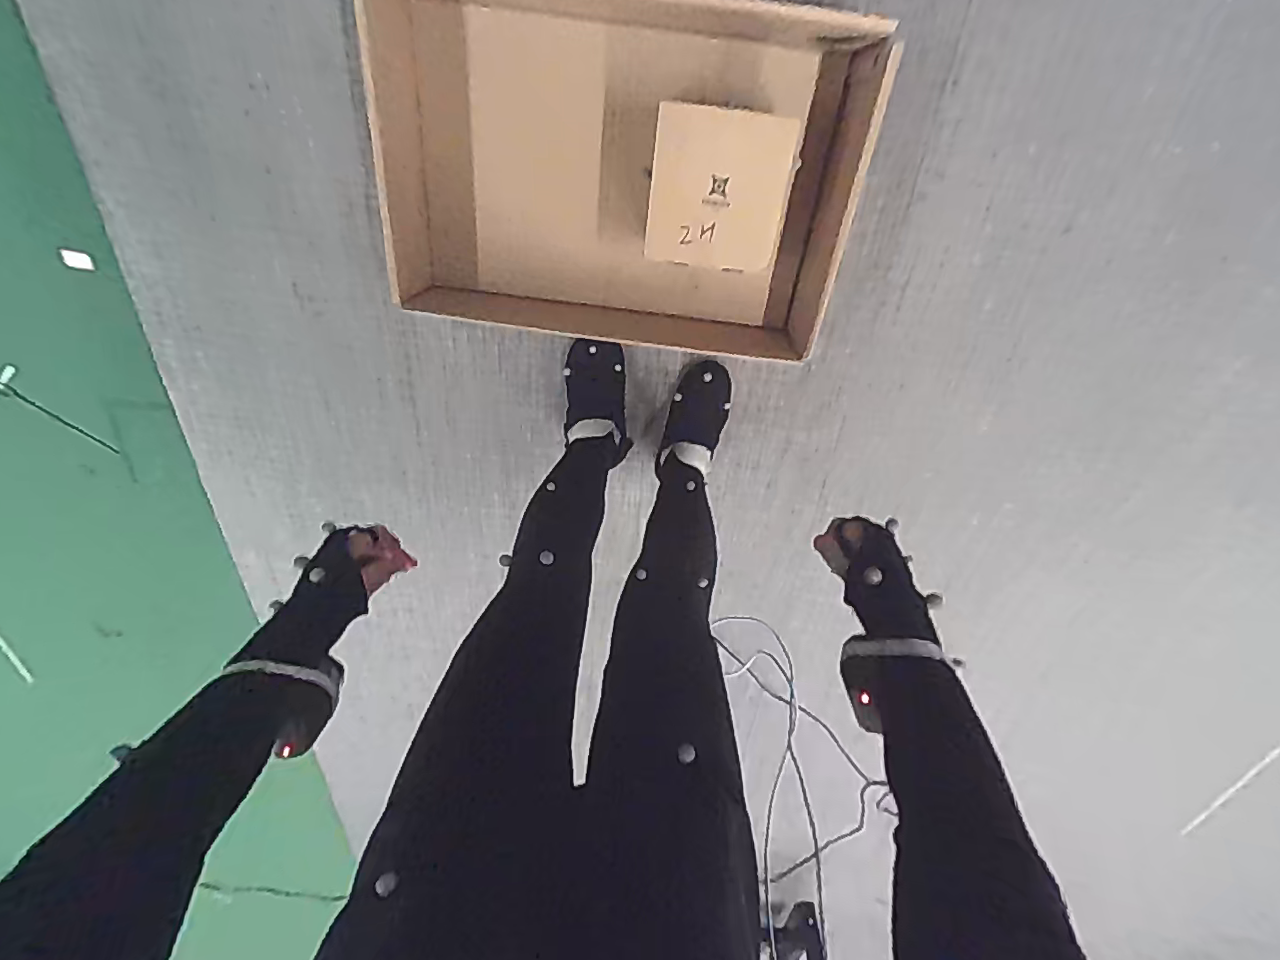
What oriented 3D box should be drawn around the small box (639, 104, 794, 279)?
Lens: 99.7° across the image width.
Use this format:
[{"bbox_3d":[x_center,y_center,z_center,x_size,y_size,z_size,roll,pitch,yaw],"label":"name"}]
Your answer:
[{"bbox_3d":[0.094,-0.392,0.739,0.168,0.176,0.179,8,122,0],"label":"small box"}]
